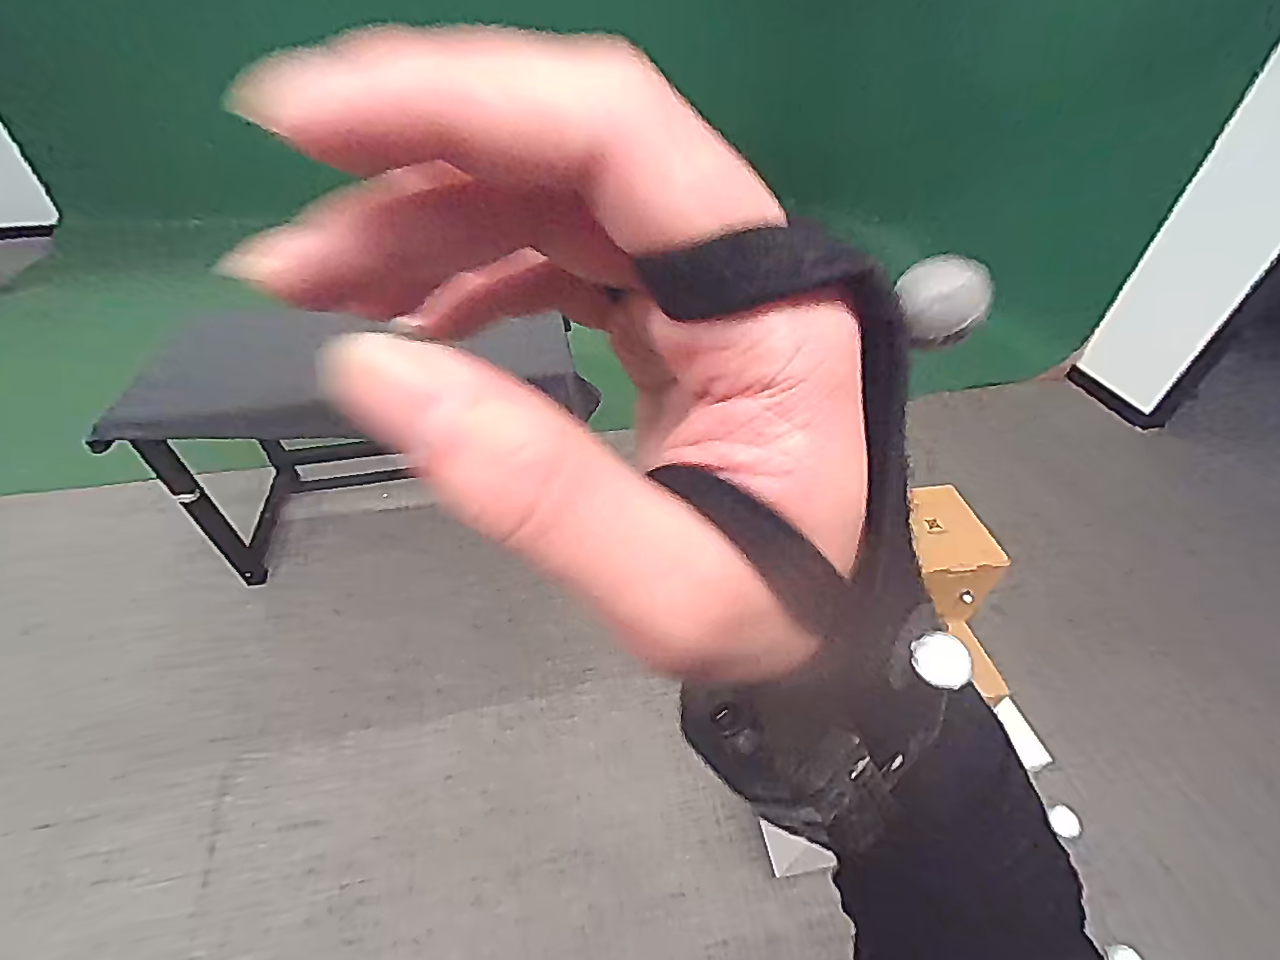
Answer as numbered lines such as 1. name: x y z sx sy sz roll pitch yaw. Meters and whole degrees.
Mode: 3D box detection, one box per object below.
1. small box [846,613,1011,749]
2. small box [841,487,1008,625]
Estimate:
1. small box: 0.489 0.345 0.953 0.168 0.176 0.179 -6 44 -6
2. small box: 0.476 0.136 0.938 0.168 0.176 0.179 -5 43 -7
